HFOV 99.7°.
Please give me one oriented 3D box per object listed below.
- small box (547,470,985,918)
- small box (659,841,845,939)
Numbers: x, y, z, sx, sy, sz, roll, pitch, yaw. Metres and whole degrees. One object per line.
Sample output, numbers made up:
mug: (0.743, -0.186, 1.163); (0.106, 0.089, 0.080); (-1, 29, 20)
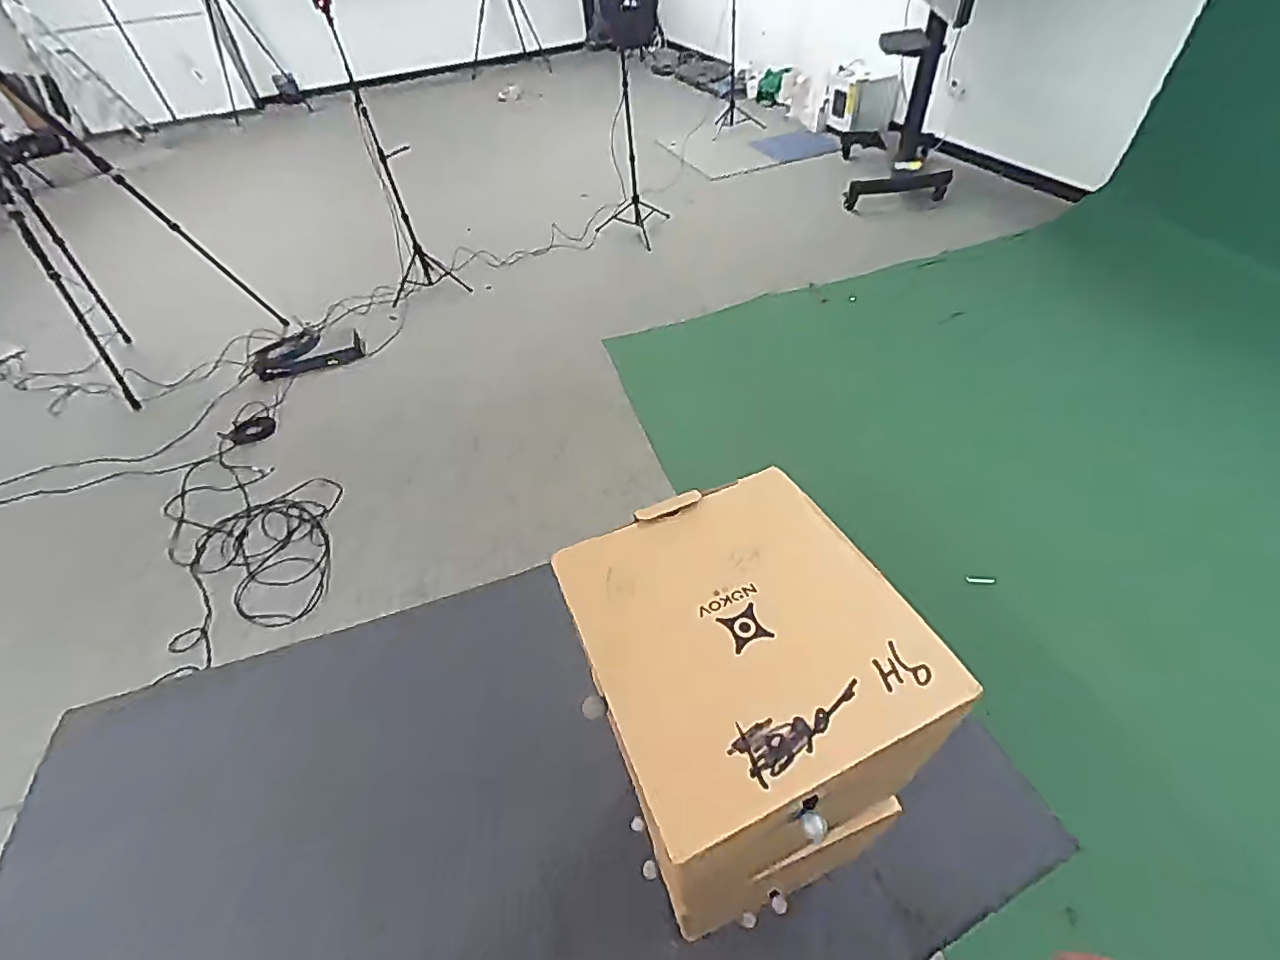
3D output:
small box: (0.056, 0.129, 0.339); (0.168, 0.176, 0.179); (-21, 47, -12)
small box: (0.087, 0.353, 0.577); (0.168, 0.176, 0.179); (-18, 47, -10)
